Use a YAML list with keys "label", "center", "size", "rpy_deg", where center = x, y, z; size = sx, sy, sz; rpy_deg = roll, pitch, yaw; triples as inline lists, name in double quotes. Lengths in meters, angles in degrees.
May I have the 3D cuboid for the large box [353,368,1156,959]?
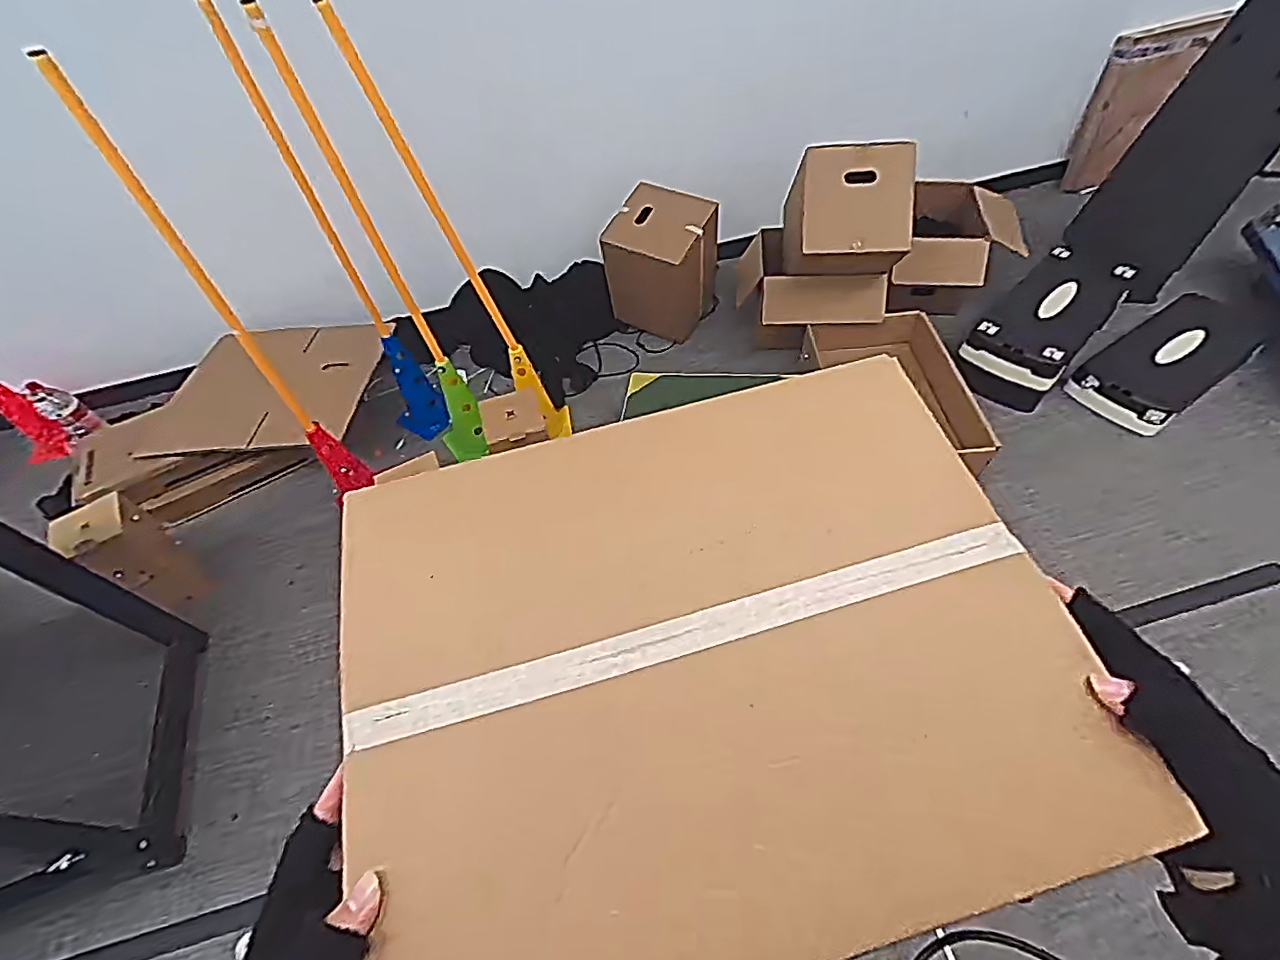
- label: "large box"
  center: [0.042, 0.164, 0.453]
  size: [0.408, 0.320, 0.320]
  rpy_deg: [-15, 62, -4]
